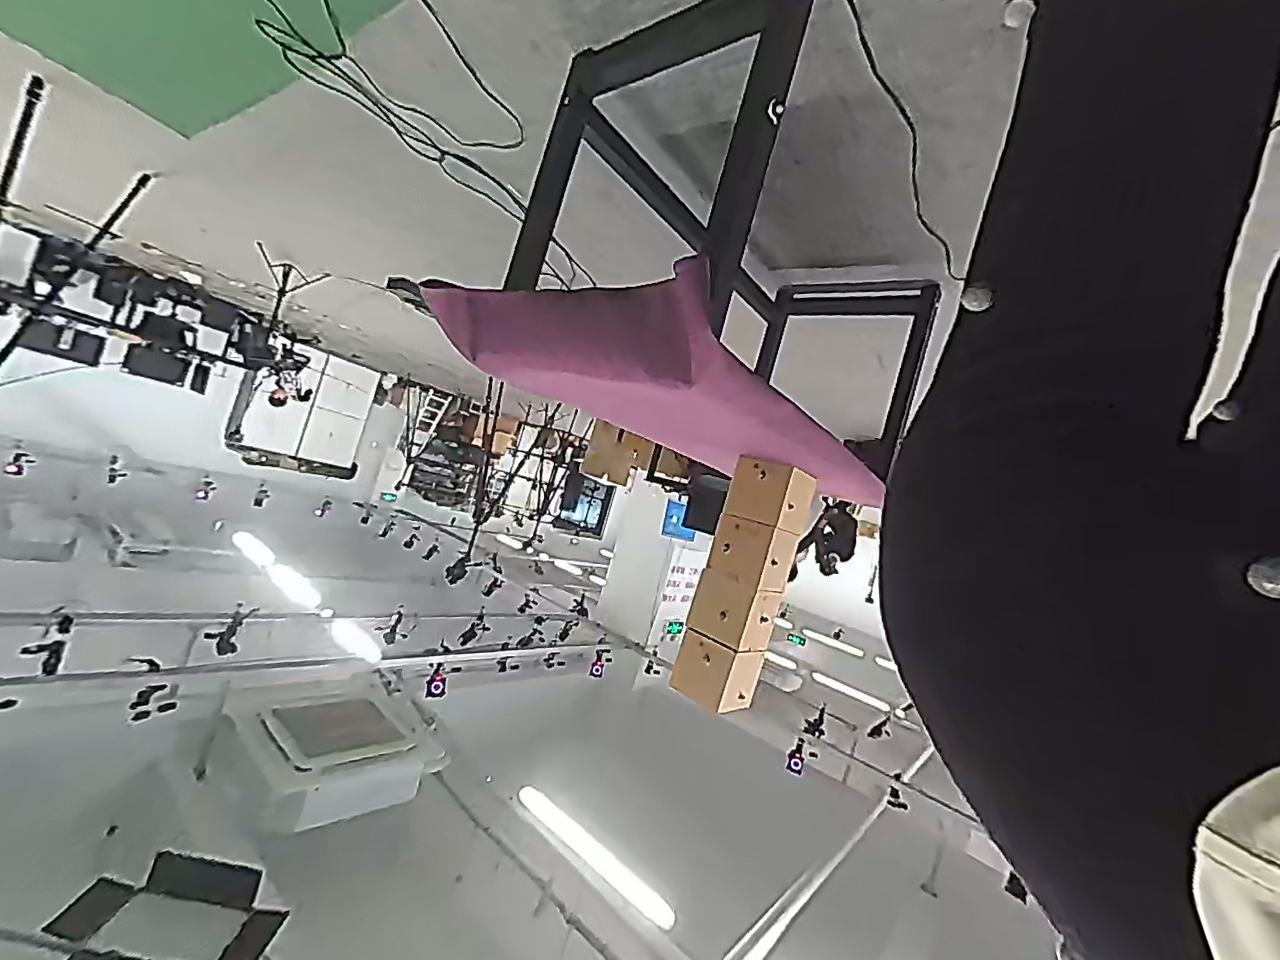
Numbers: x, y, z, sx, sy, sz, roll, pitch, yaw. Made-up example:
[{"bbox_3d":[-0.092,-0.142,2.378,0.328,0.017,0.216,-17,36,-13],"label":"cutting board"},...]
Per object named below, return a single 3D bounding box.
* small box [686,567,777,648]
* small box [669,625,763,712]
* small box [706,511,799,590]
[{"bbox_3d":[0.258,0.344,1.477,0.179,0.176,0.168,15,177,40],"label":"small box"},{"bbox_3d":[0.211,0.502,1.468,0.168,0.176,0.179,16,177,41],"label":"small box"},{"bbox_3d":[0.310,0.190,1.478,0.168,0.176,0.179,16,178,39],"label":"small box"}]
